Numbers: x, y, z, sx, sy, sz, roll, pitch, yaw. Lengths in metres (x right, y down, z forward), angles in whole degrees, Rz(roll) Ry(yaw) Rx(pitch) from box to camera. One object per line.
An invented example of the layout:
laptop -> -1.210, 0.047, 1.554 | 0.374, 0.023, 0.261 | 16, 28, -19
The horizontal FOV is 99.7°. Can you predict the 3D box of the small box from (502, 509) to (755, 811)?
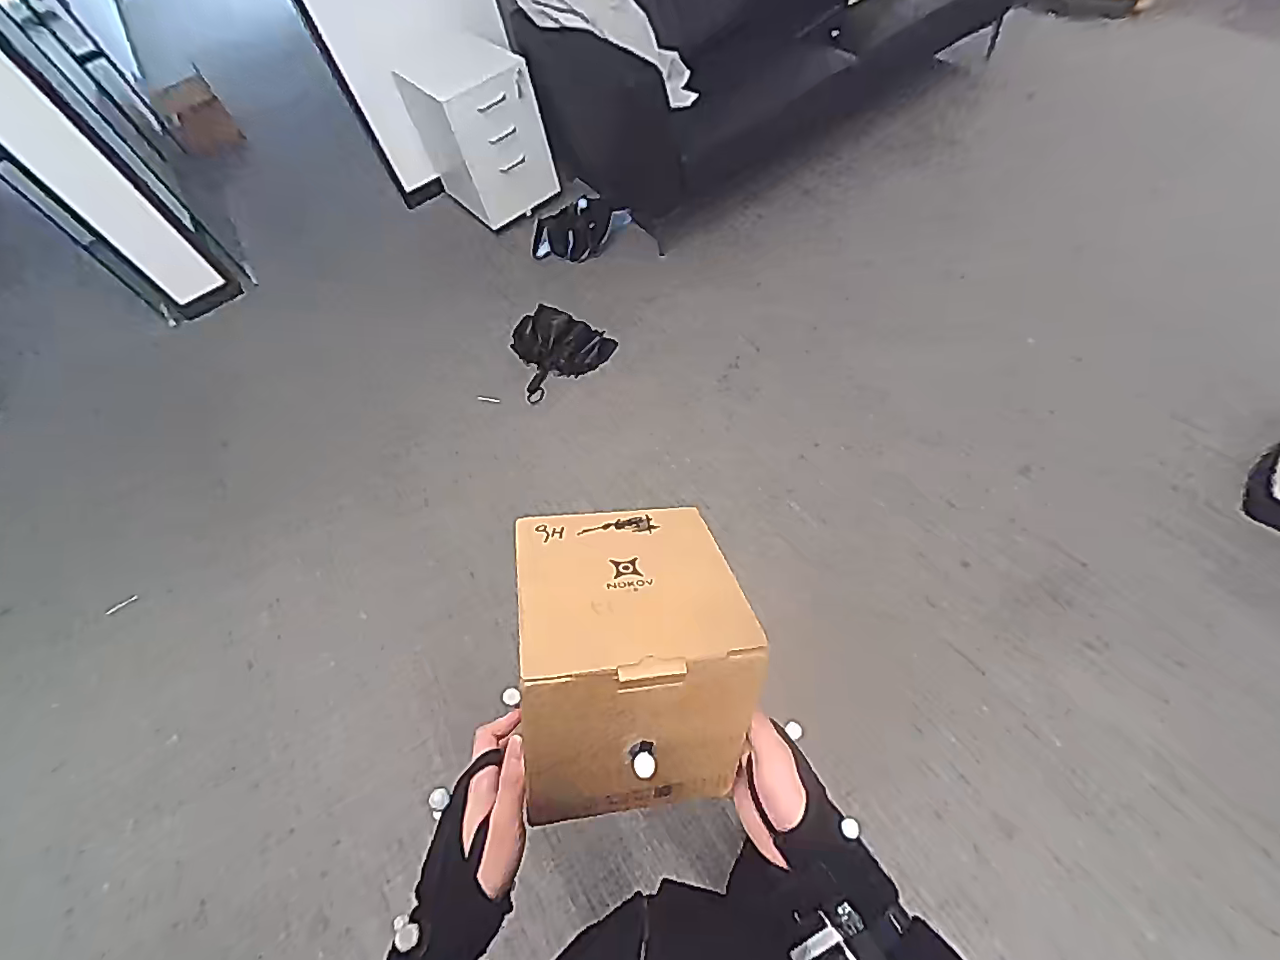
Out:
small box -> -0.022, 0.145, 0.448 | 0.168, 0.176, 0.179 | -2, 33, -12
